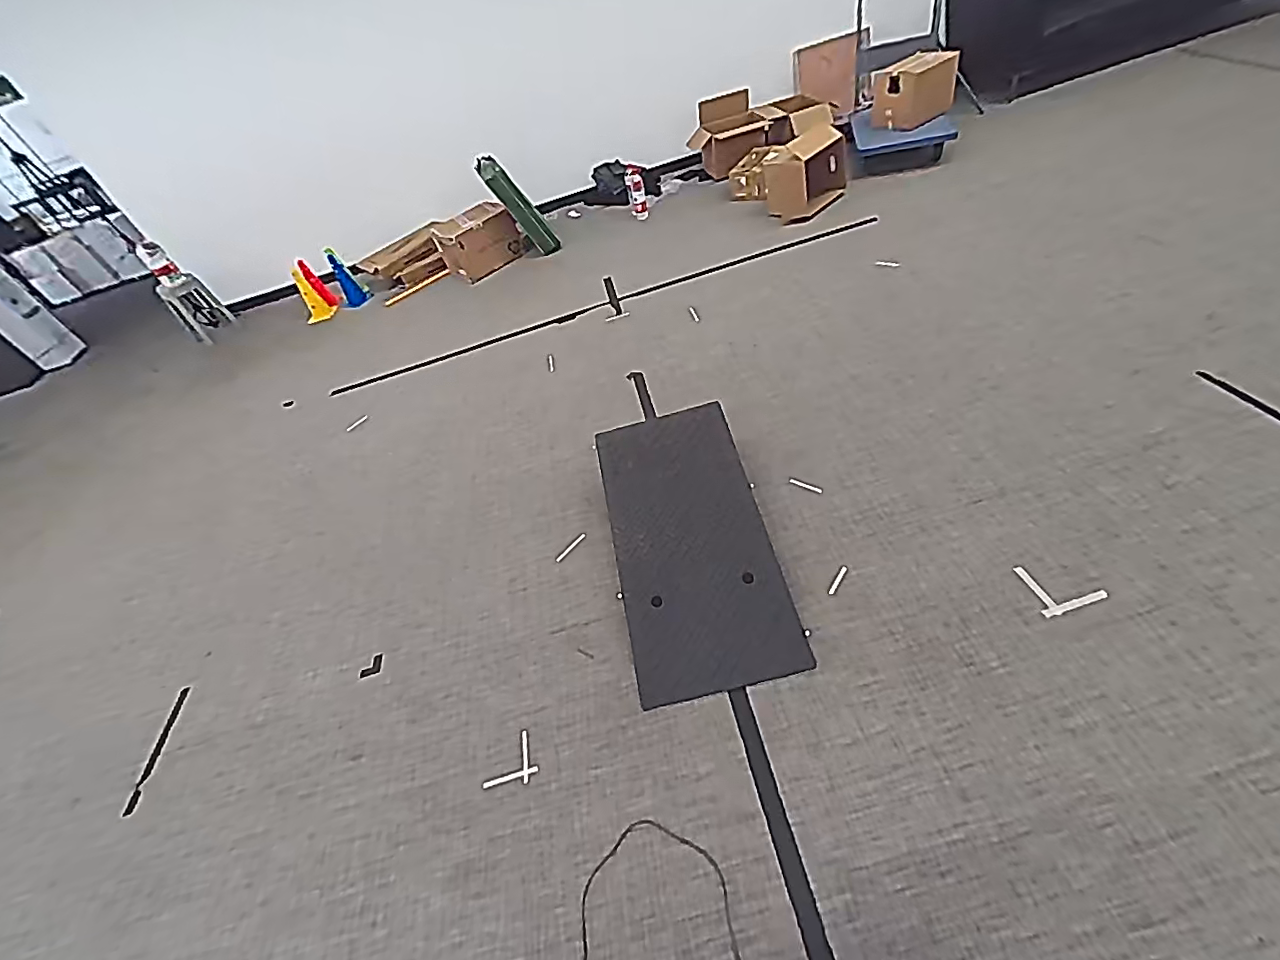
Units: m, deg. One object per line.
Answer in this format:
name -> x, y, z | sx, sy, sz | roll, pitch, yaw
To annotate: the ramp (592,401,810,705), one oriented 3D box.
ramp -> 0.145, 0.166, 1.763 | 0.509, 0.206, 0.991 | -16, 45, 1
